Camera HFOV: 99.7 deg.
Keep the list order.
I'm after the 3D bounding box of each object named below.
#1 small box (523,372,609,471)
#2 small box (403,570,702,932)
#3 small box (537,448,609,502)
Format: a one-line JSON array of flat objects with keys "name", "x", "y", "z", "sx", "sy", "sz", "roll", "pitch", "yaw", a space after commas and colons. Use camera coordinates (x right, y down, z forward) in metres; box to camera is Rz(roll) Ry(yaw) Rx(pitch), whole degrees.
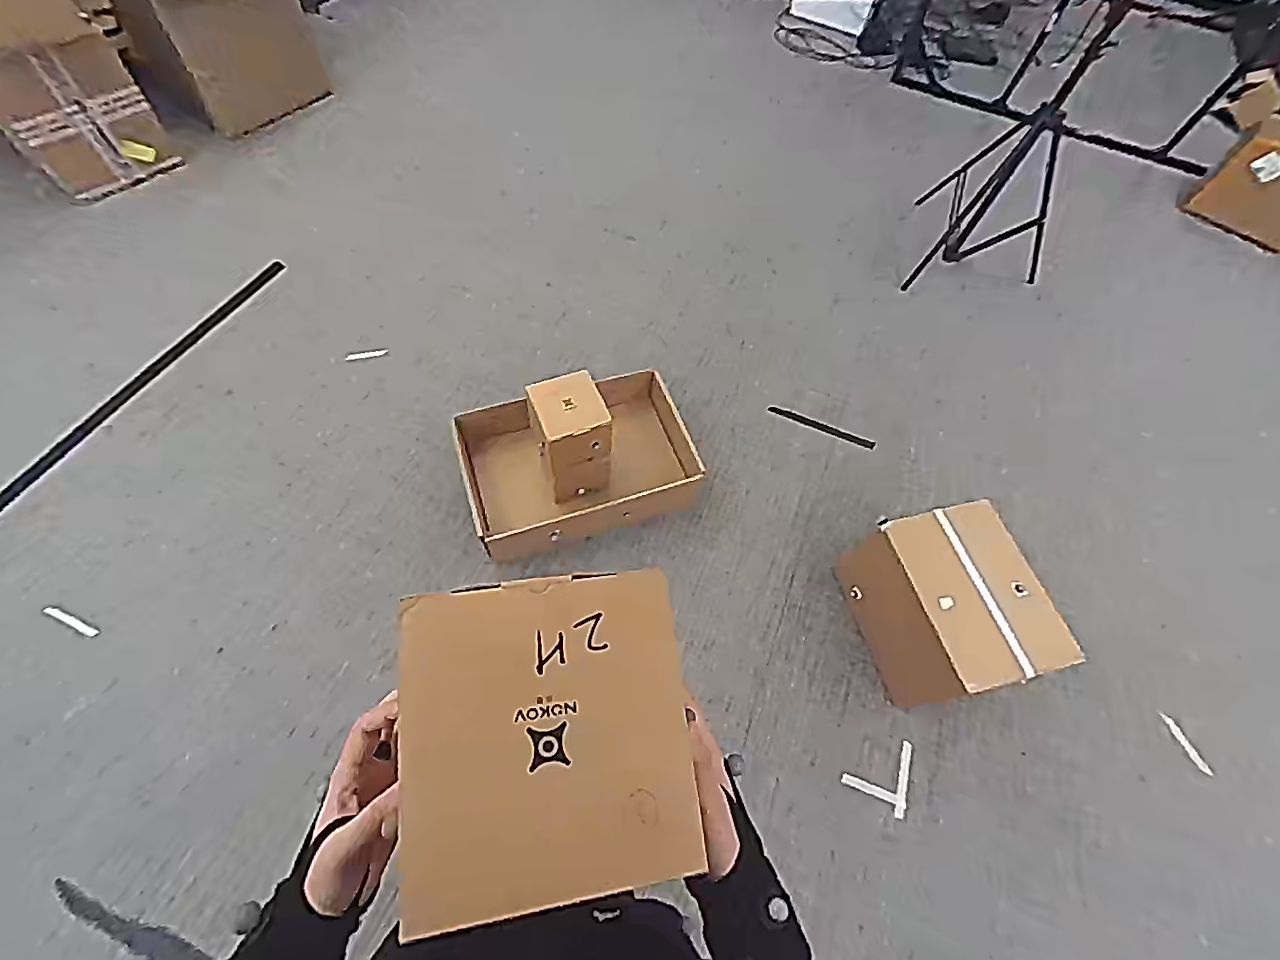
[{"name": "small box", "x": -0.186, "y": -0.141, "z": 1.383, "sx": 0.168, "sy": 0.176, "sz": 0.179, "roll": -20, "pitch": 64, "yaw": -17}, {"name": "small box", "x": -0.066, "y": 0.171, "z": 0.393, "sx": 0.168, "sy": 0.176, "sz": 0.179, "roll": -4, "pitch": 72, "yaw": -12}, {"name": "small box", "x": -0.194, "y": -0.064, "z": 1.525, "sx": 0.168, "sy": 0.176, "sz": 0.179, "roll": -17, "pitch": 65, "yaw": -14}]
